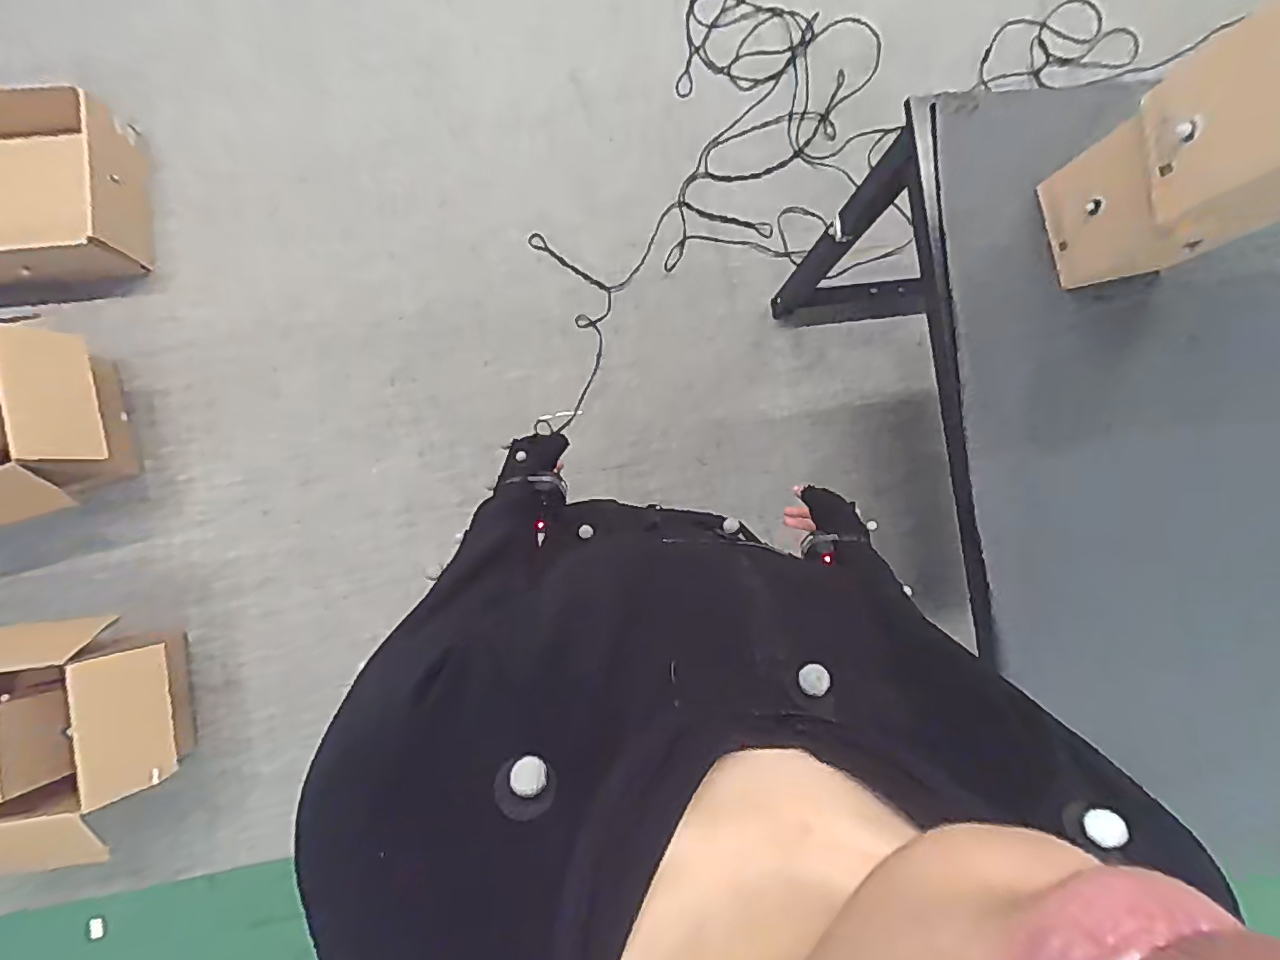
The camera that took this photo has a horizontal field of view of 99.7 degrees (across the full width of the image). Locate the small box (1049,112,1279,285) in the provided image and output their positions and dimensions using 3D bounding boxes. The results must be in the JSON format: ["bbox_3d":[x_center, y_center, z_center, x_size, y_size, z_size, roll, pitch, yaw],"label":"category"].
[{"bbox_3d":[0.714,-0.390,0.750,0.179,0.176,0.168,-12,88,-5],"label":"small box"}]

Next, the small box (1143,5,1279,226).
[{"bbox_3d":[0.711,-0.397,0.585,0.179,0.176,0.168,-5,87,-4],"label":"small box"}]

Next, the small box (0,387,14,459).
[{"bbox_3d":[-1.477,-0.119,1.124,0.179,0.176,0.168,-15,86,-7],"label":"small box"}]
